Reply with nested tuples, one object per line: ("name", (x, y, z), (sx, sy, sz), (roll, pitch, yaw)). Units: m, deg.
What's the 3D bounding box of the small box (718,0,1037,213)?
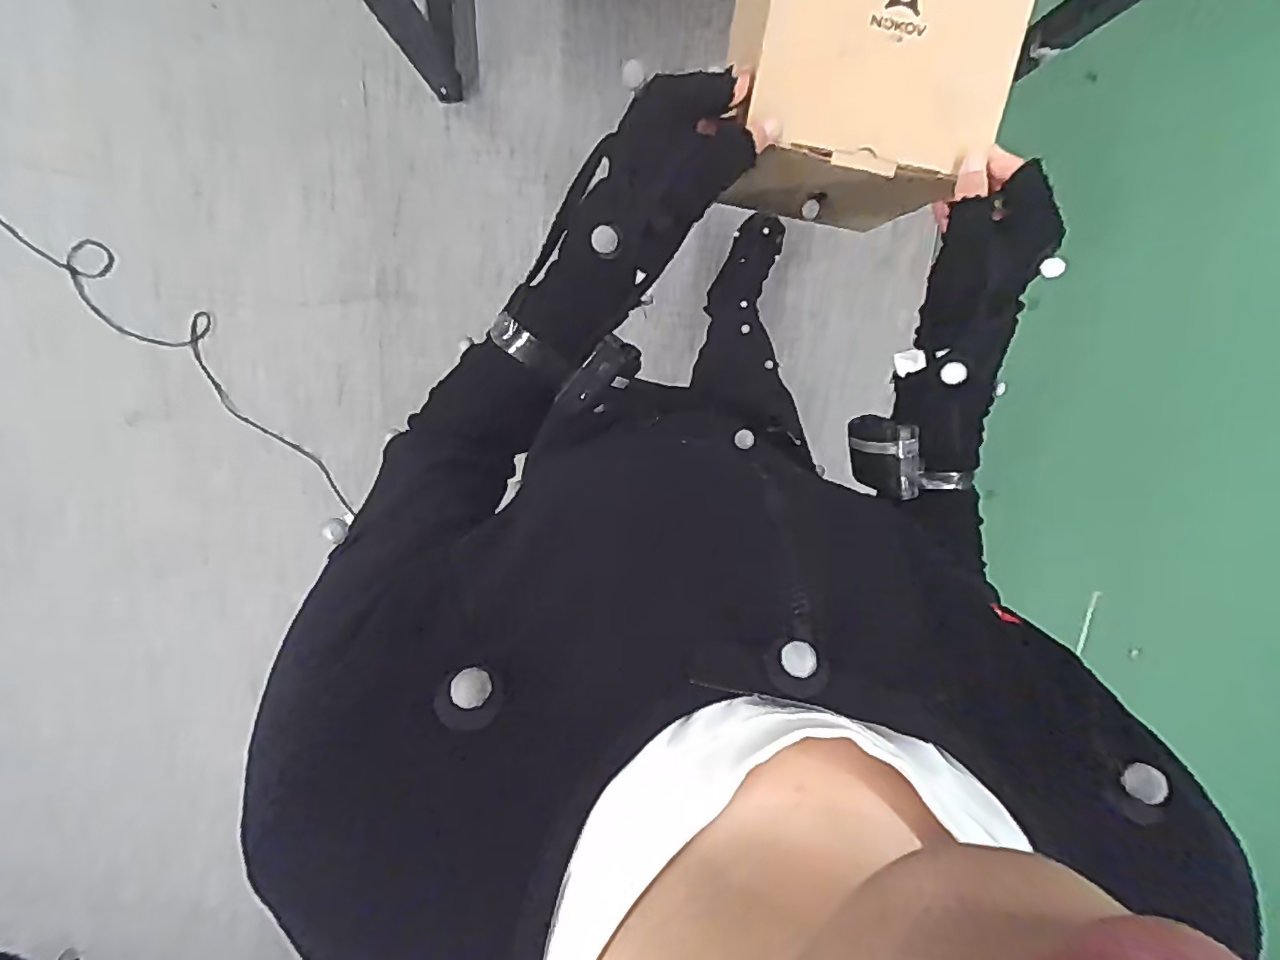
("small box", (0.165, -0.324, 0.416), (0.168, 0.176, 0.179), (8, 105, -6))
